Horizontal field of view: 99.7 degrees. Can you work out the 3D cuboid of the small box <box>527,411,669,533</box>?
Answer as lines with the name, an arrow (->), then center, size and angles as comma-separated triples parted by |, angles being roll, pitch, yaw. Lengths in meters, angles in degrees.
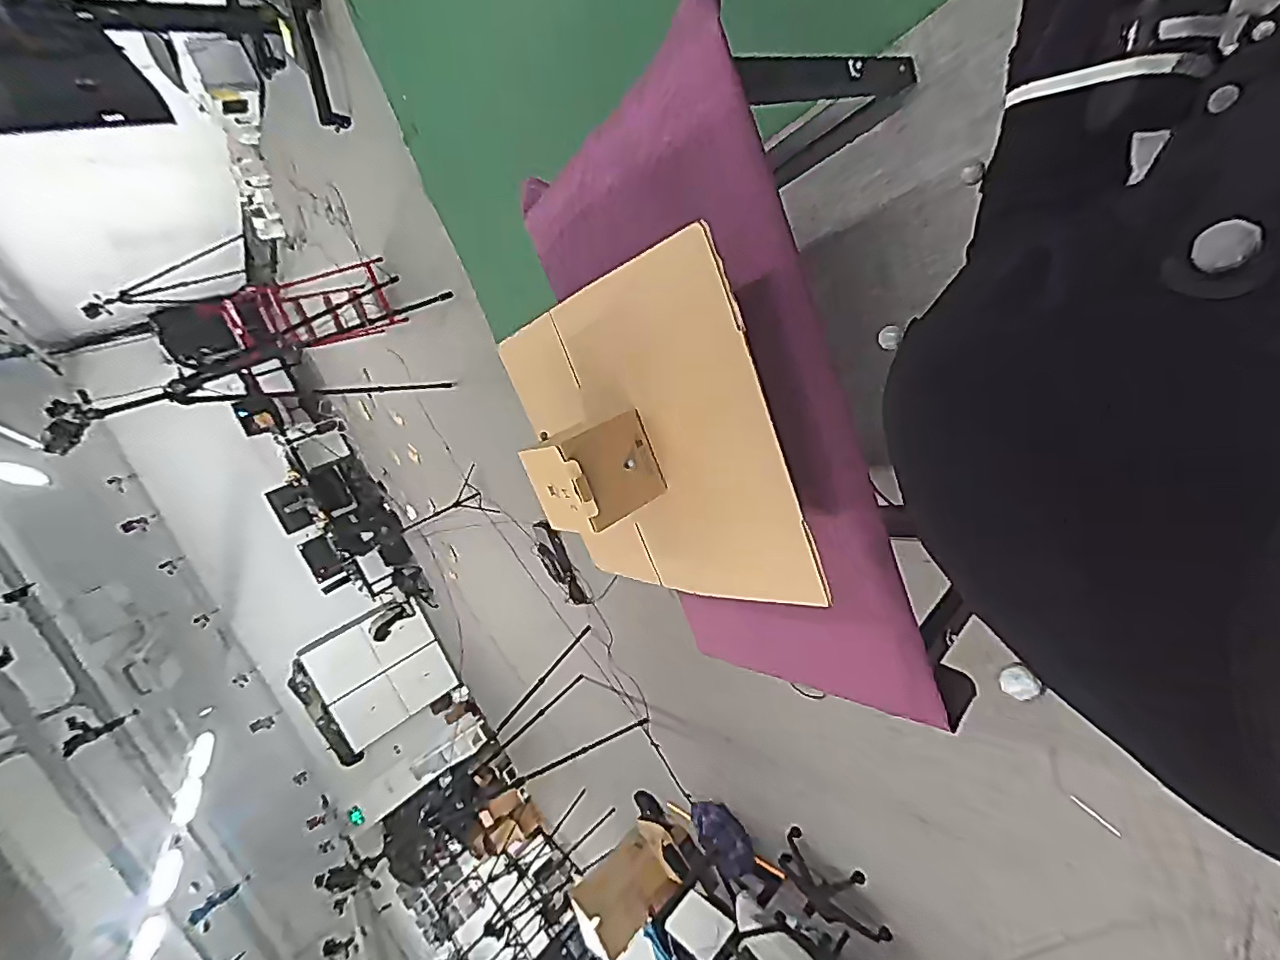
small box -> -0.077, -0.017, 1.004 | 0.179, 0.176, 0.168 | -3, 113, 55
